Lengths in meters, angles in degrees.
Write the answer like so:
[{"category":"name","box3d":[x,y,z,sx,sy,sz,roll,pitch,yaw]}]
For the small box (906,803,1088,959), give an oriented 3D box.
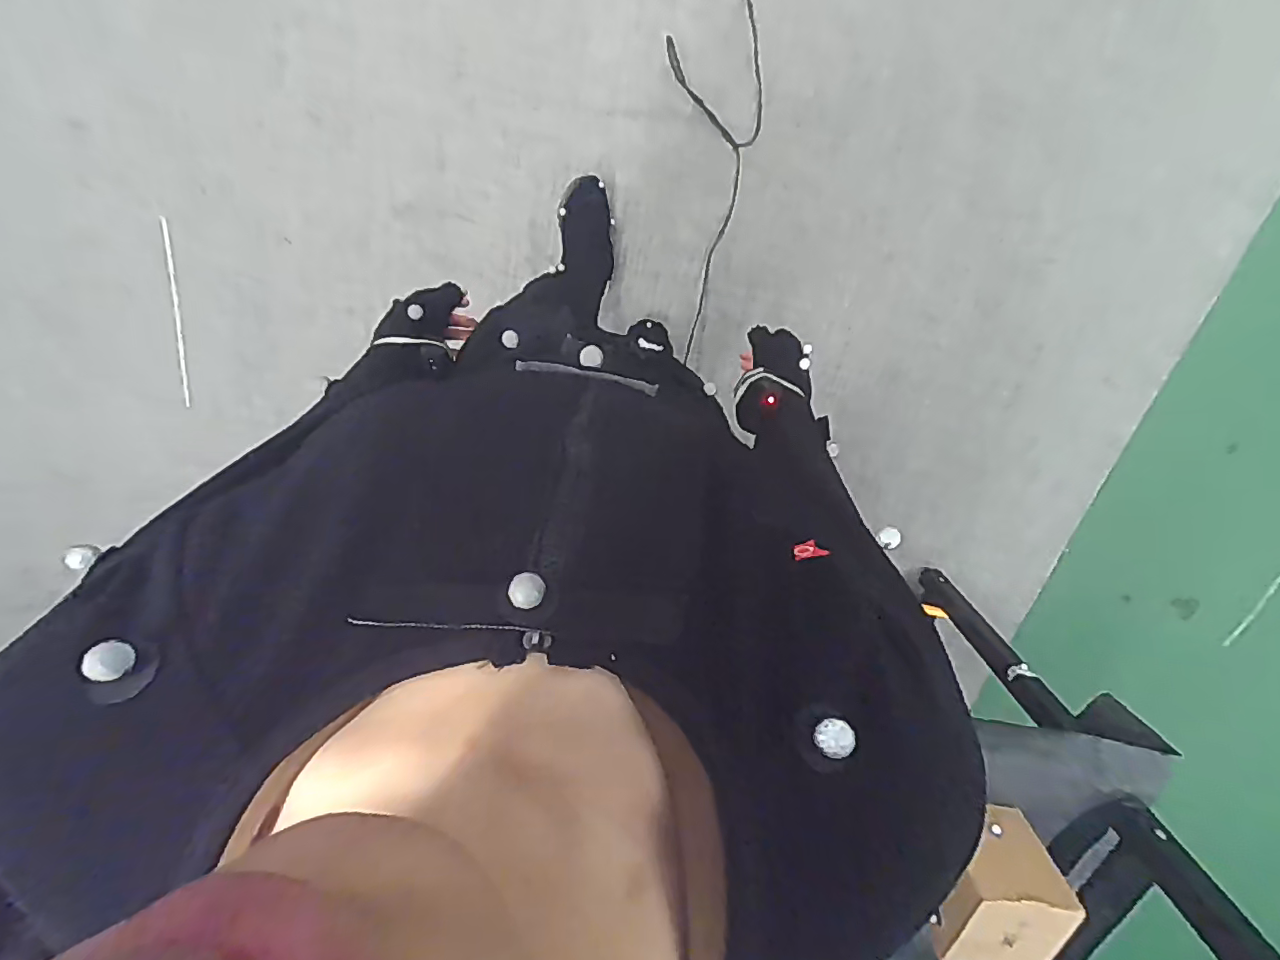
[{"category":"small box","box3d":[0.580,0.687,0.910,0.168,0.176,0.179,9,112,-3]}]
